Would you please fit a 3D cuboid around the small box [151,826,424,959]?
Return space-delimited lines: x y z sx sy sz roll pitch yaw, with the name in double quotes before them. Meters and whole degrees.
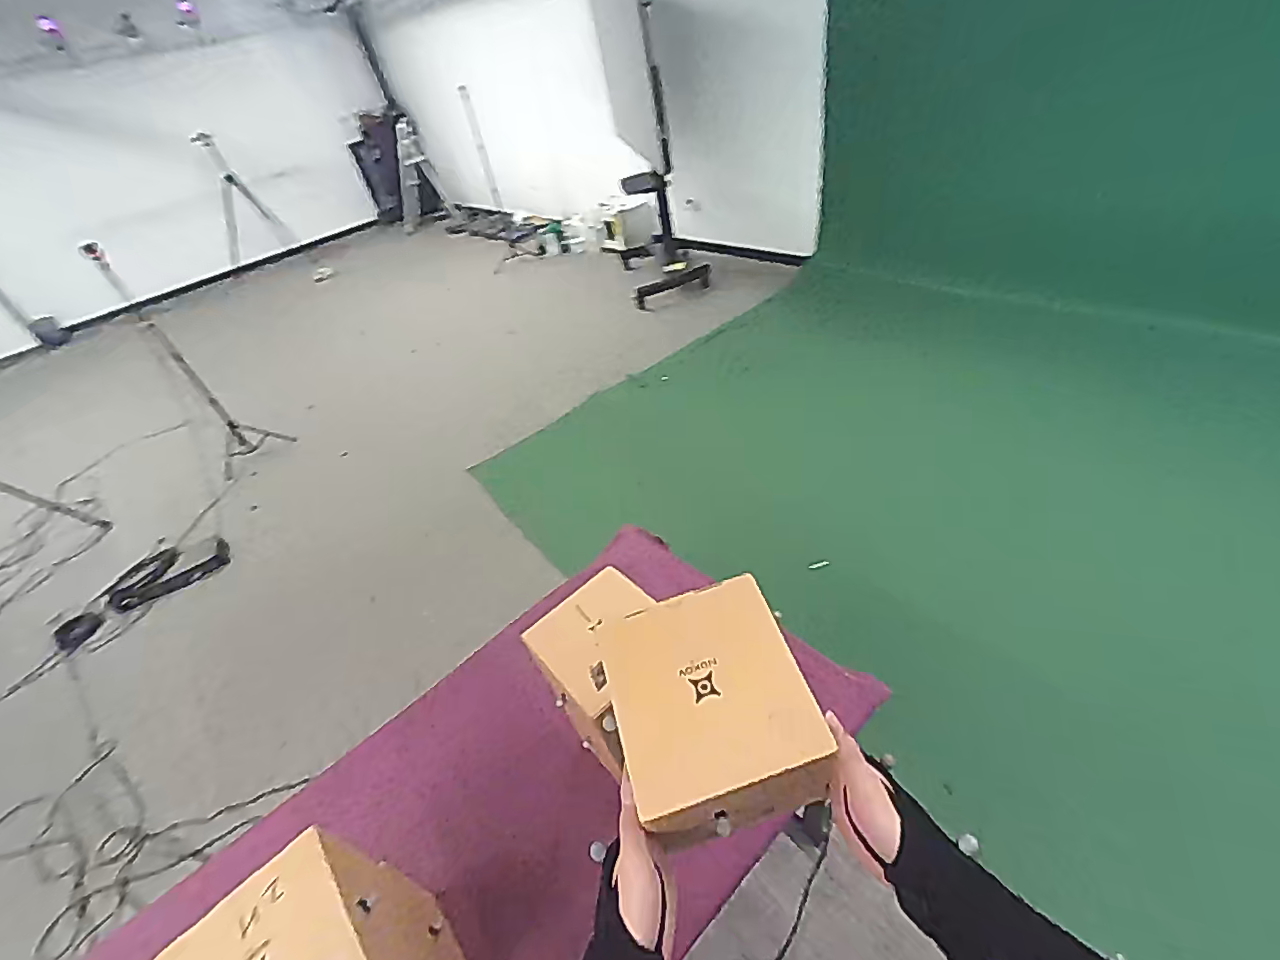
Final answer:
"small box" -0.348 0.515 0.559 0.168 0.176 0.179 -37 45 -26

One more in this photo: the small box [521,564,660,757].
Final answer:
"small box" -0.035 0.260 0.771 0.168 0.176 0.179 -36 42 -23

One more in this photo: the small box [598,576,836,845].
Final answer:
"small box" 0.072 0.229 0.526 0.168 0.176 0.179 -18 46 -2

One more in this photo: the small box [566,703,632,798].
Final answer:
"small box" -0.004 0.381 0.877 0.168 0.176 0.179 -36 44 -22
